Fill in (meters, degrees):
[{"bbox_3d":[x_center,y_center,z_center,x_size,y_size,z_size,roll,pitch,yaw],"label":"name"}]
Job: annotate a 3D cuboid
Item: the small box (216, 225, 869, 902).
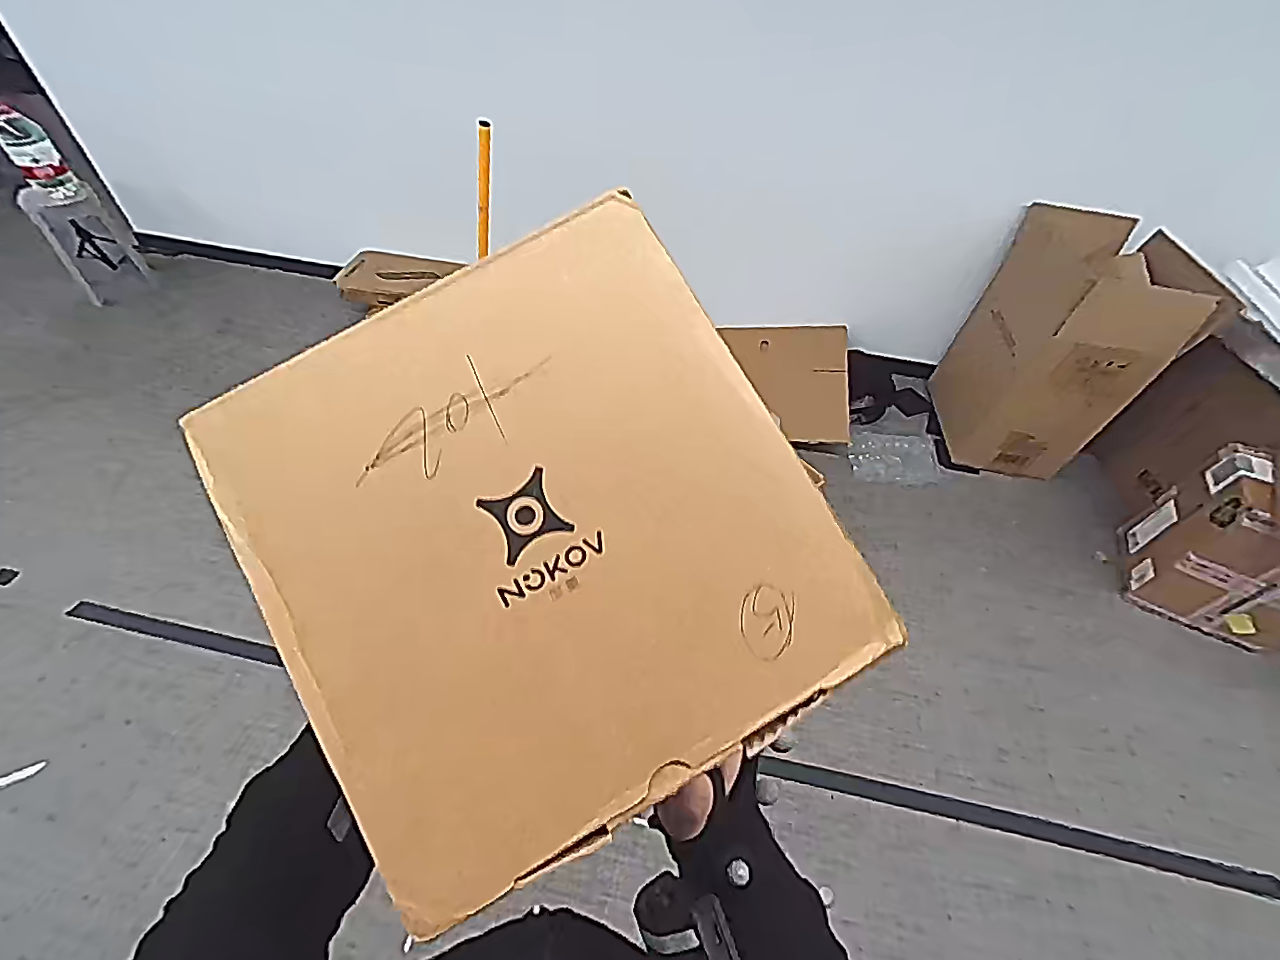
[{"bbox_3d":[-0.034,0.030,0.260,0.168,0.176,0.179,-31,80,-5],"label":"small box"}]
